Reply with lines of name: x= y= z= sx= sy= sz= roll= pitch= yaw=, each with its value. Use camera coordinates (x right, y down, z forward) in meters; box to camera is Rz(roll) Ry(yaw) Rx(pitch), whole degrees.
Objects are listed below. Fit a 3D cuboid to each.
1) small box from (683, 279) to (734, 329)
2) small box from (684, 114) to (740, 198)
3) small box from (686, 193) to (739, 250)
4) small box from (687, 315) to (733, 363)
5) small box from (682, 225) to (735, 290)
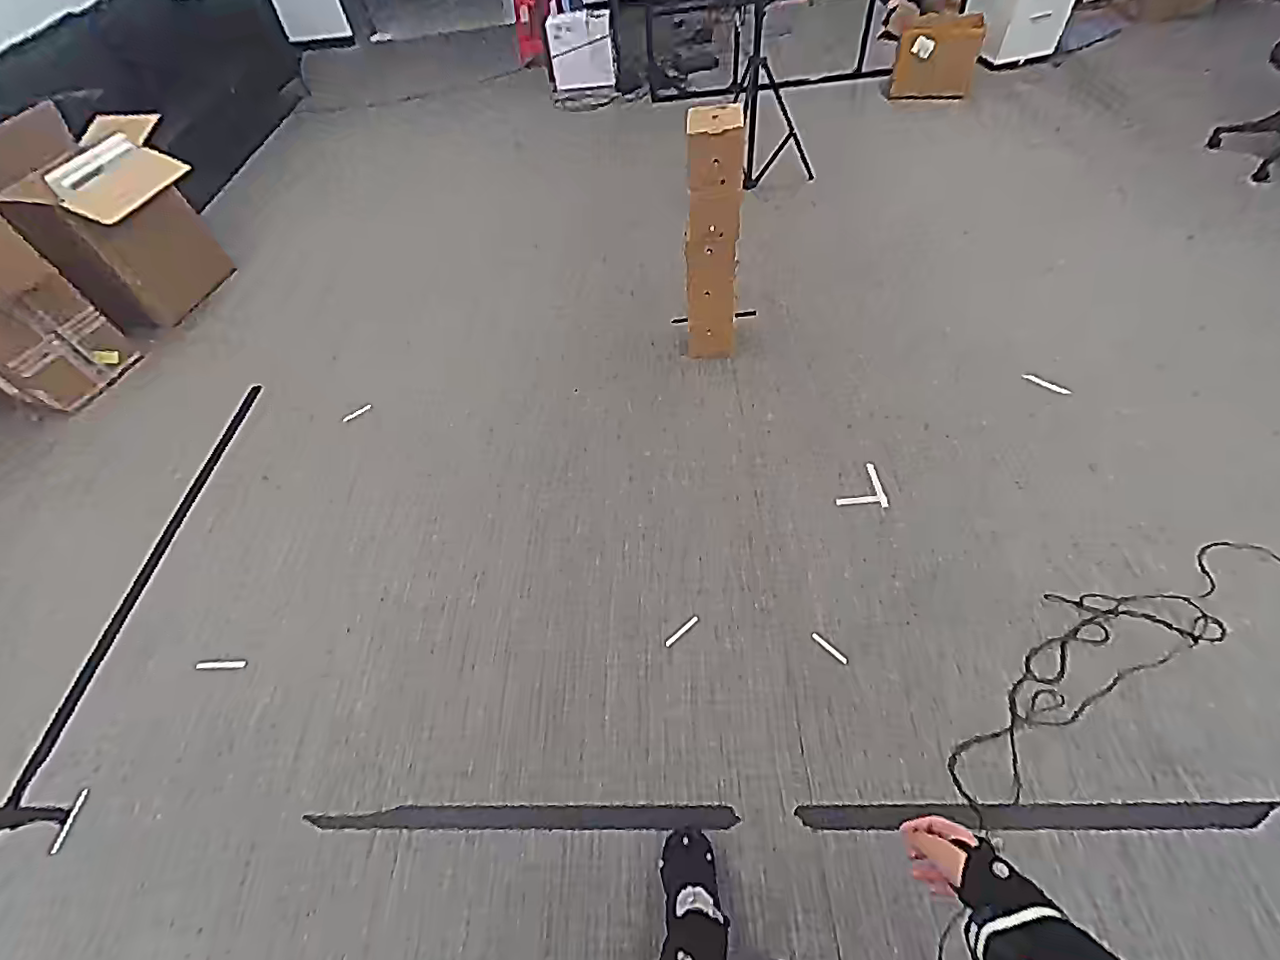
small box: x=0.264 y=-0.690 z=2.052 sx=0.179 sy=0.176 sz=0.168 roll=4 pitch=55 yaw=11
small box: x=0.225 y=-0.993 z=1.669 sx=0.168 sy=0.176 sz=0.179 roll=-1 pitch=55 yaw=8
small box: x=0.242 y=-0.888 z=1.794 sx=0.168 sy=0.176 sz=0.179 roll=1 pitch=55 yaw=10
small box: x=0.282 y=-0.585 z=2.177 sx=0.179 sy=0.176 sz=0.168 roll=1 pitch=54 yaw=9
small box: x=0.247 y=-0.793 z=1.928 sx=0.179 sy=0.176 sz=0.168 roll=2 pitch=55 yaw=9
